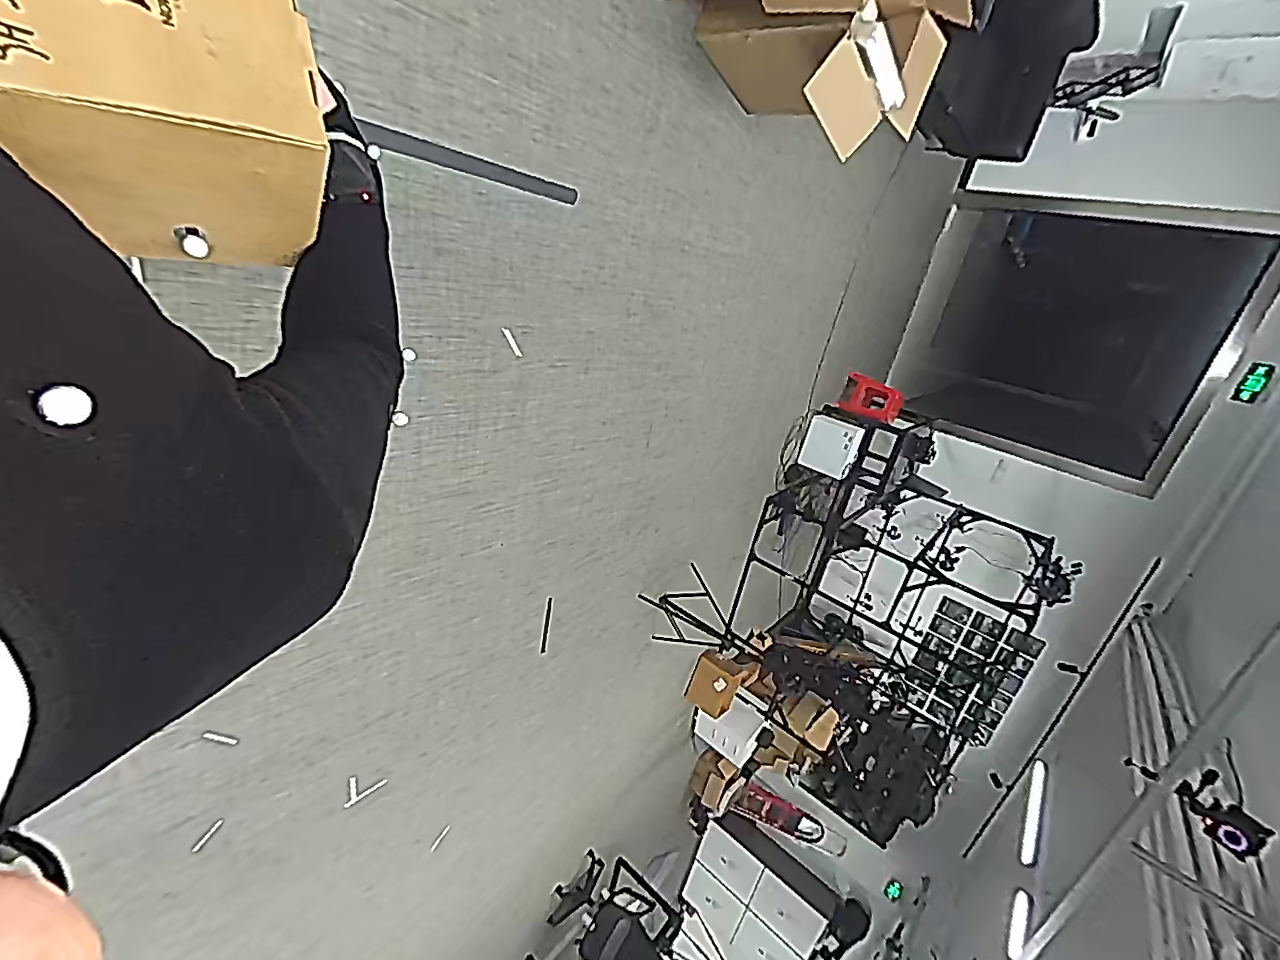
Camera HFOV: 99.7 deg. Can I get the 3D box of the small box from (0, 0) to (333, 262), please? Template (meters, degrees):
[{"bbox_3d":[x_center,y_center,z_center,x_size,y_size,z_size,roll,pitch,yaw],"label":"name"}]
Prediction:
[{"bbox_3d":[-0.359,-0.288,0.415,0.179,0.176,0.168,-12,85,-37],"label":"small box"}]
